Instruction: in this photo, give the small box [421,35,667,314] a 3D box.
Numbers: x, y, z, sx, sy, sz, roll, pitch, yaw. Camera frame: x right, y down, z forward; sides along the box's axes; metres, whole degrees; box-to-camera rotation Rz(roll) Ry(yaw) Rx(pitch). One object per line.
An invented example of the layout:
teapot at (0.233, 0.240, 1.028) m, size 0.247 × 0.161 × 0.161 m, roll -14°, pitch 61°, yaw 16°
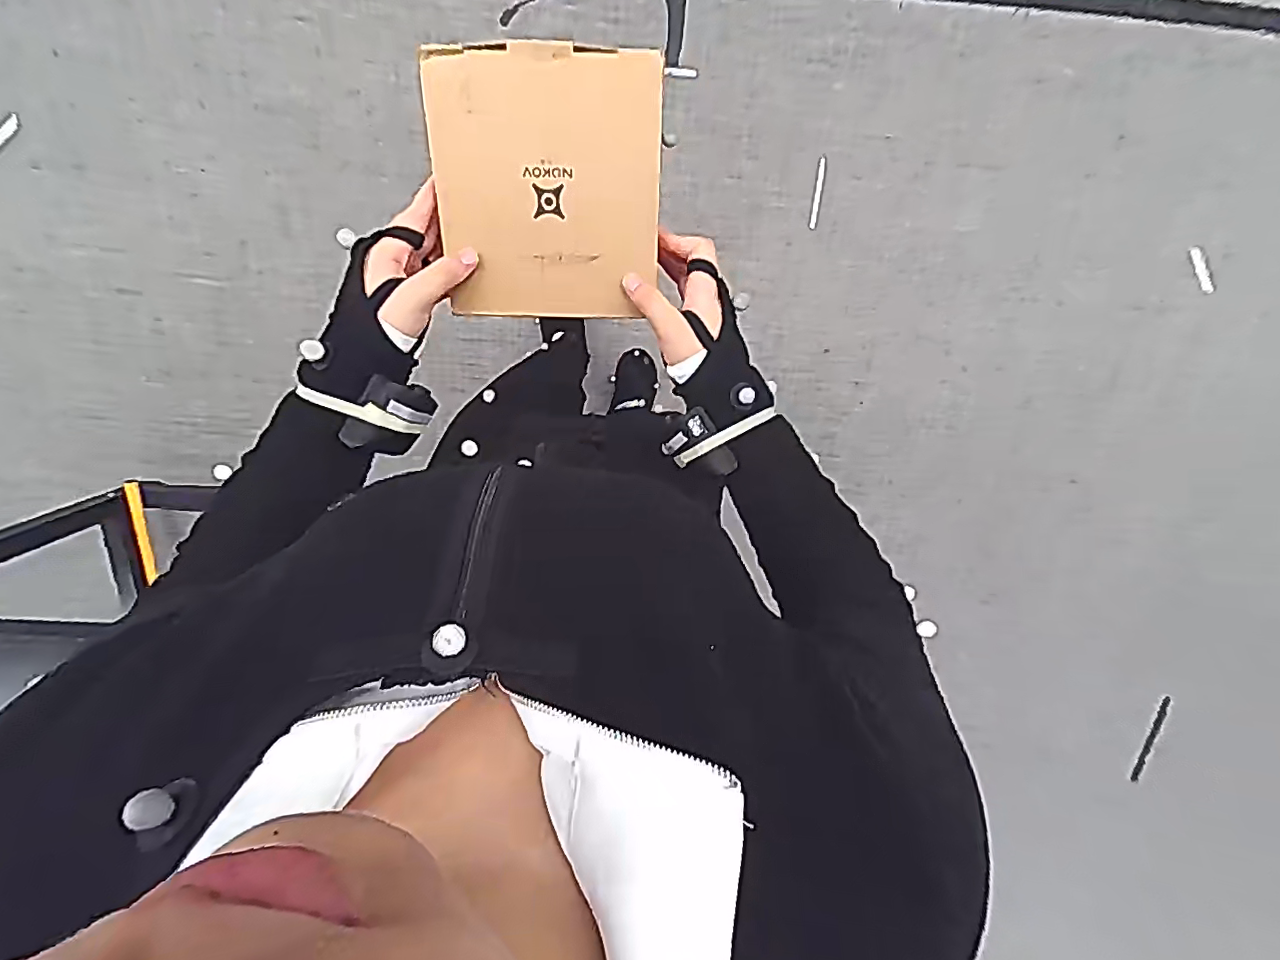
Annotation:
small box at (-0.067, -0.248, 0.465) m, size 0.168 × 0.176 × 0.179 m, roll 1°, pitch 117°, yaw 0°
